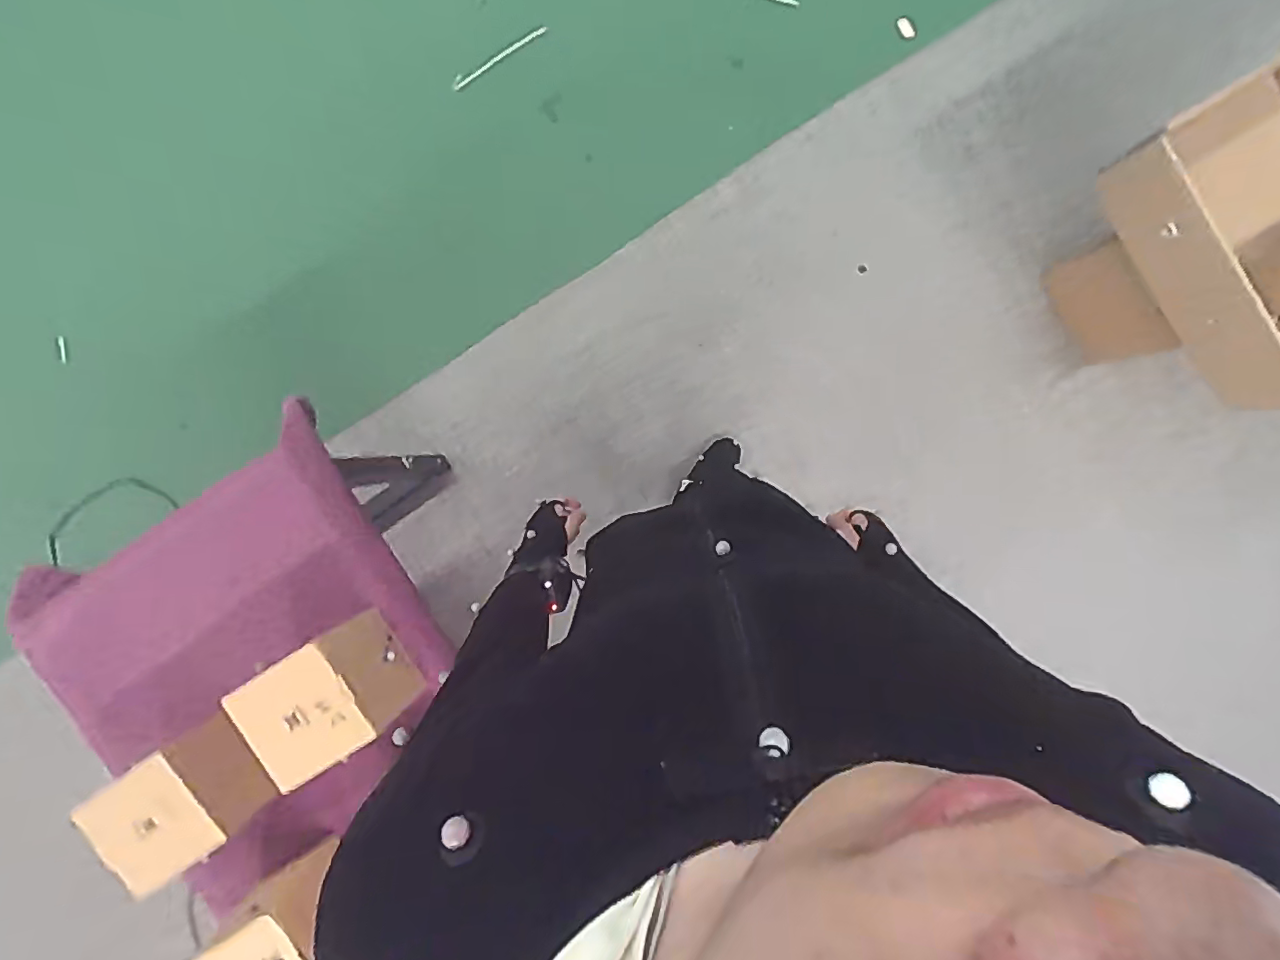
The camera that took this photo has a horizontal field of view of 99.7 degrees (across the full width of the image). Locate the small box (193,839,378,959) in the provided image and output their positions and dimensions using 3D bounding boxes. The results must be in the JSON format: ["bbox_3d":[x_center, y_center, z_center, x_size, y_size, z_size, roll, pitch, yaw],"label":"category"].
[{"bbox_3d":[-0.561,0.738,0.877,0.179,0.176,0.168,-35,91,4],"label":"small box"}]

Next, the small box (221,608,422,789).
[{"bbox_3d":[-0.484,0.330,0.850,0.179,0.176,0.168,-32,92,4],"label":"small box"}]

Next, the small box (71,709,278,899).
[{"bbox_3d":[-0.719,0.501,0.870,0.179,0.176,0.168,-35,92,2],"label":"small box"}]
